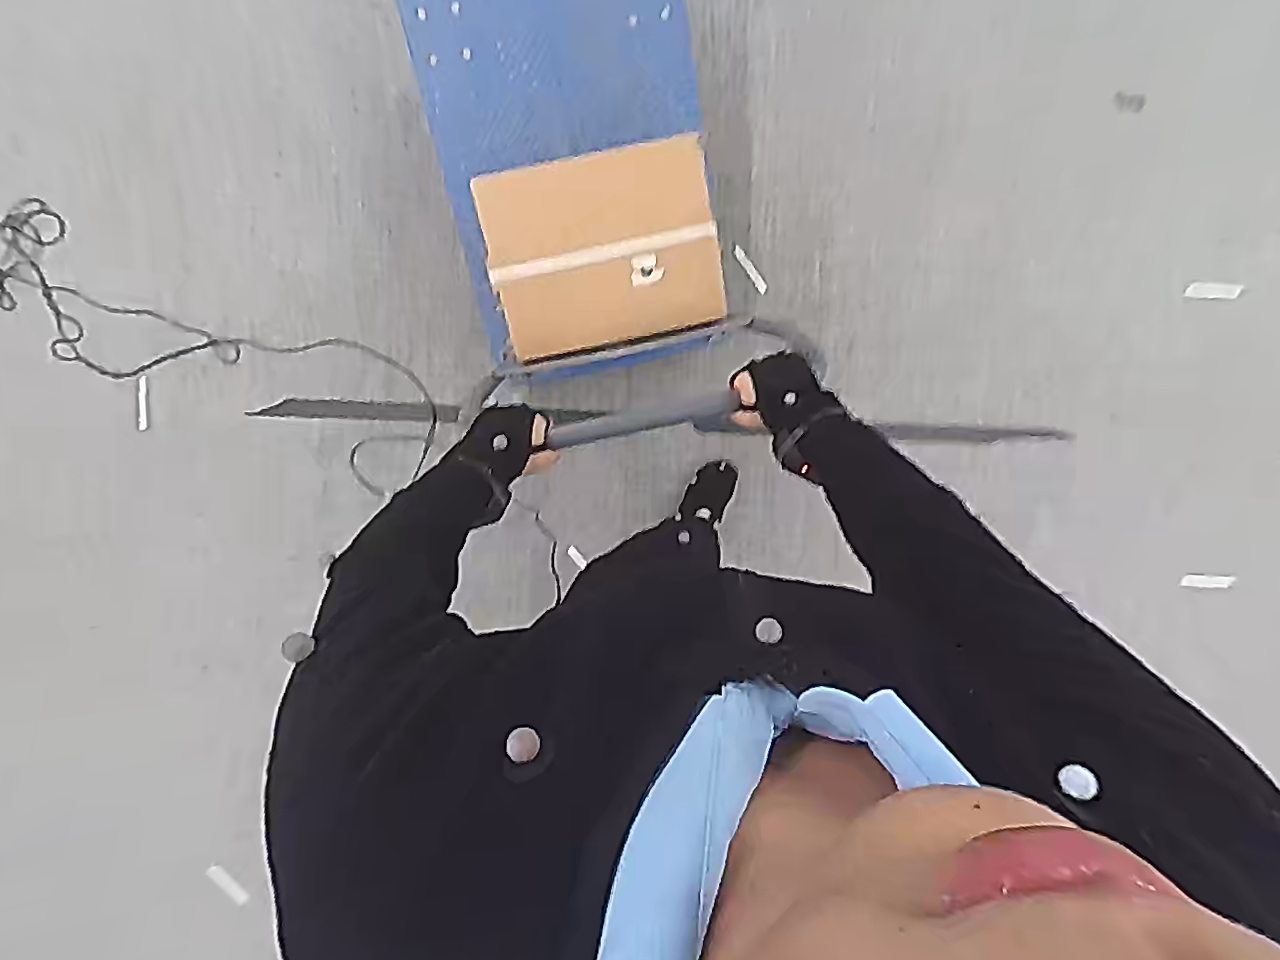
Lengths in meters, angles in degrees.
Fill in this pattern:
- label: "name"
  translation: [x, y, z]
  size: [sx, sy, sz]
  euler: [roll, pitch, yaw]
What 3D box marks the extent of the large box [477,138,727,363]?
- label: "large box"
  translation: [-0.074, -0.448, 1.126]
  size: [0.408, 0.320, 0.320]
  euler: [-14, 107, -2]
